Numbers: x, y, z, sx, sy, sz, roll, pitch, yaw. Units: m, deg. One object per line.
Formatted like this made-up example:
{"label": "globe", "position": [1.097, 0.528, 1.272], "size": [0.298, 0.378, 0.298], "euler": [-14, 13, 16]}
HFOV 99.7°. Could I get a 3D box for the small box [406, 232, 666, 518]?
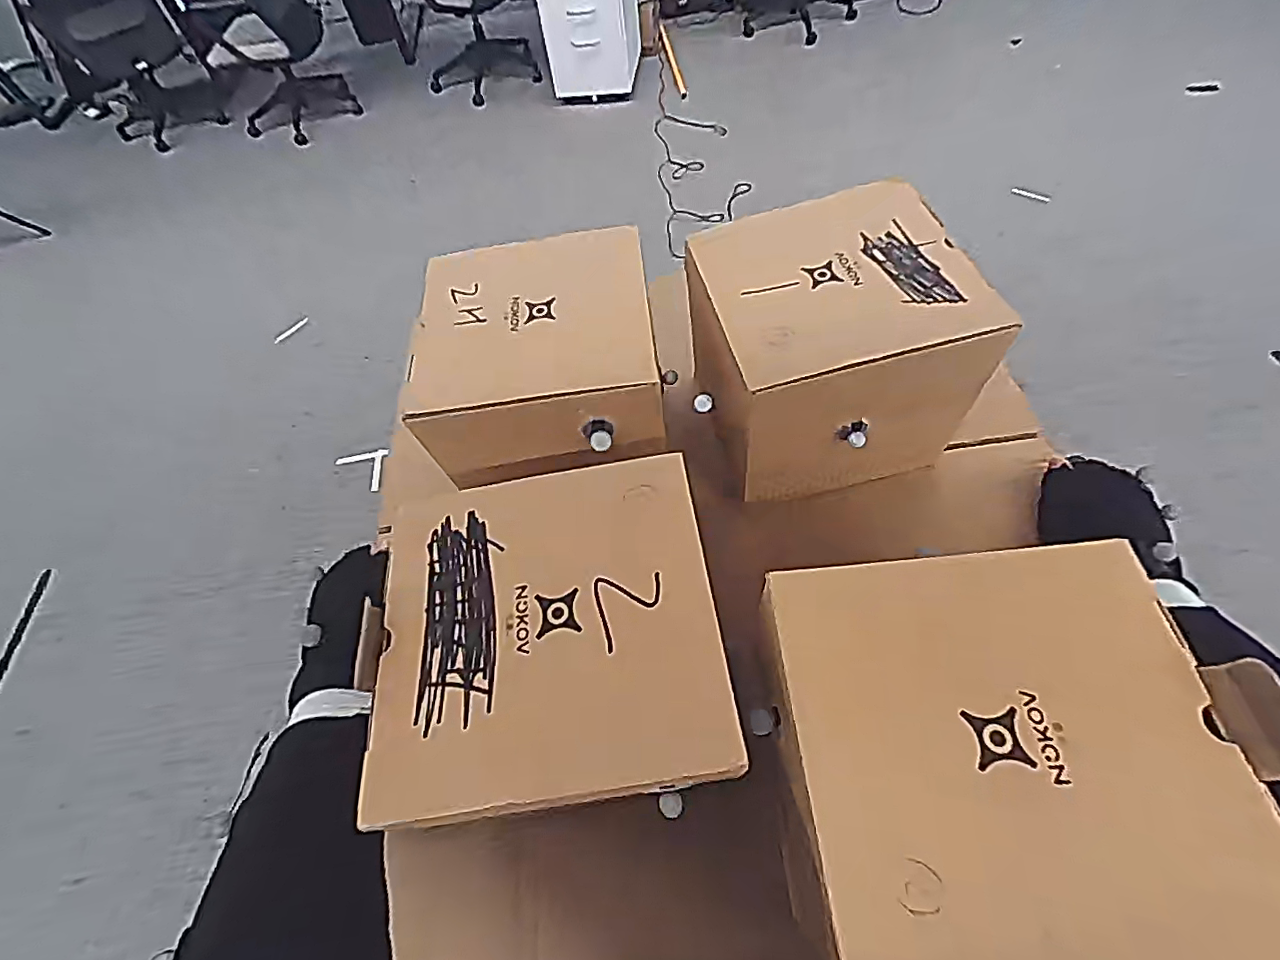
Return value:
{"label": "small box", "position": [-0.072, -0.081, 0.475], "size": [0.179, 0.176, 0.168], "euler": [-8, 59, 5]}
